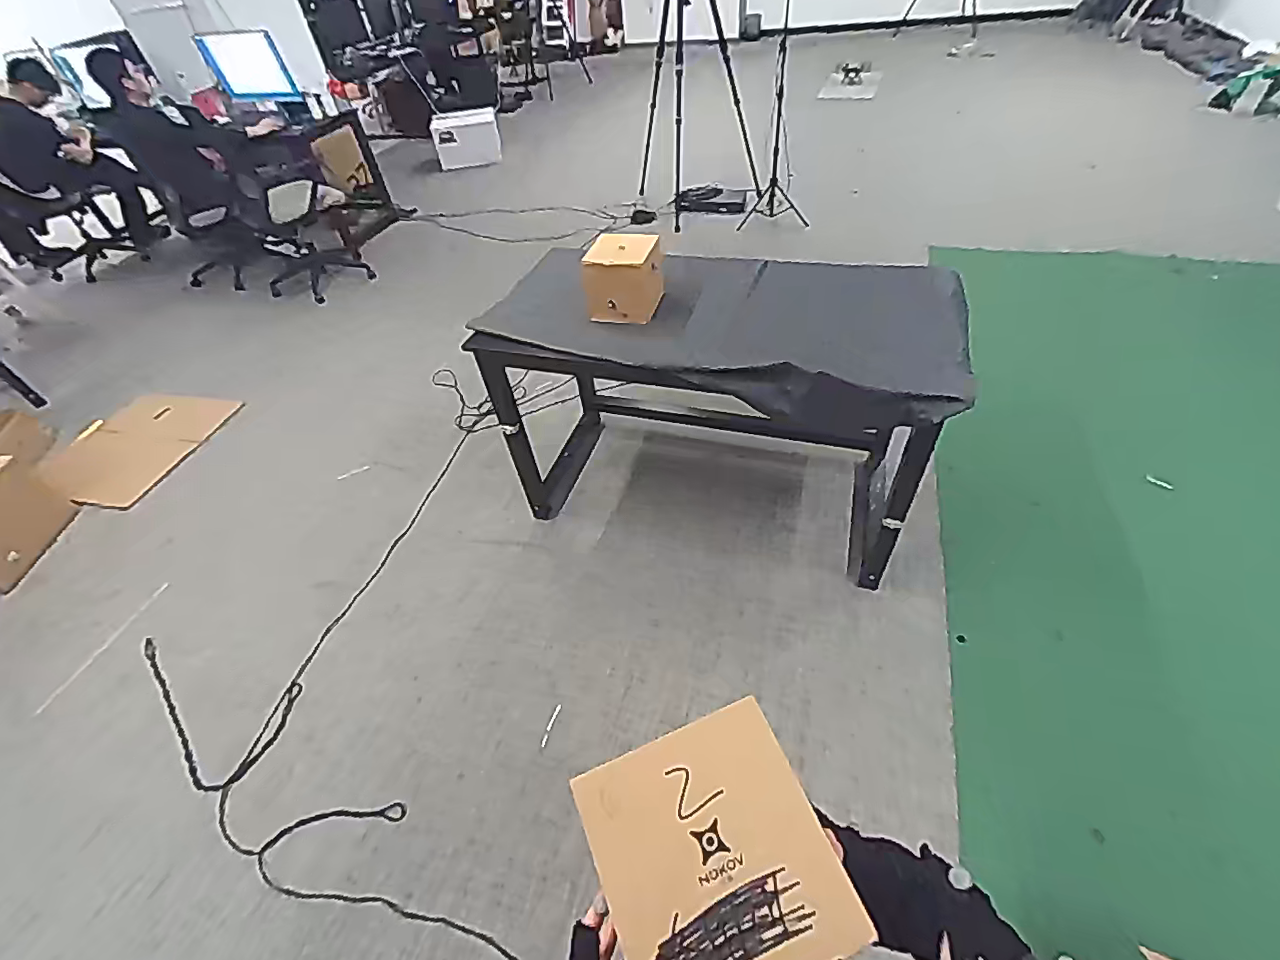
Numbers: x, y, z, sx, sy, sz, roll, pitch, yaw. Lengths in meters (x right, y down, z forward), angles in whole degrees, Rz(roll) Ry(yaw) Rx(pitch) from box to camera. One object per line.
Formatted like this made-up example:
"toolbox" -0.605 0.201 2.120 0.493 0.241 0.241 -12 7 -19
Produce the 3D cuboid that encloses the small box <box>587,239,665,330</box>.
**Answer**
"small box" -0.031 -0.530 1.466 0.168 0.176 0.179 9 49 14
